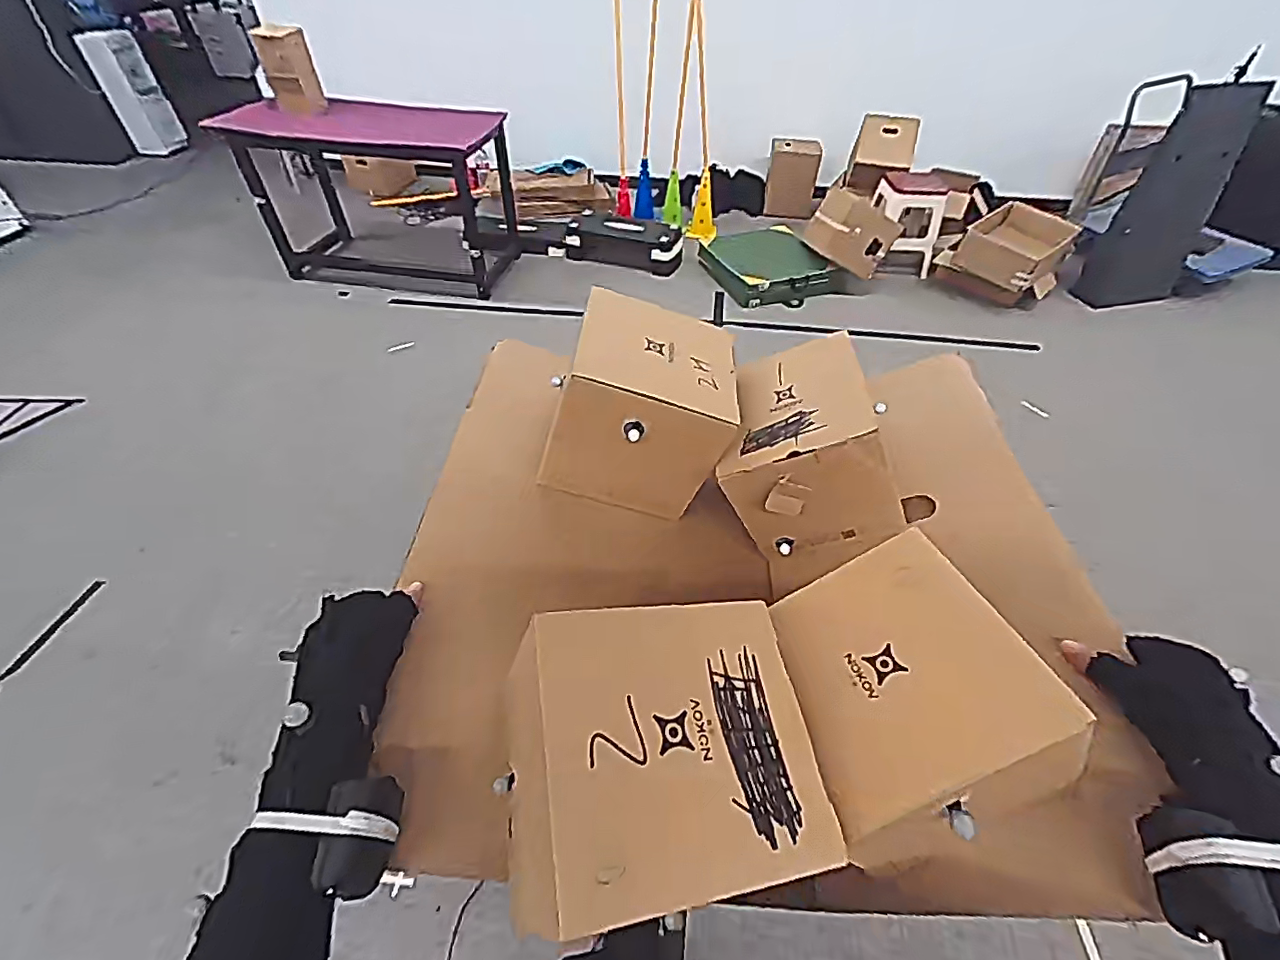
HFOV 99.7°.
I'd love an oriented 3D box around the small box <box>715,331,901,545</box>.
[{"bbox_3d":[0.199,-0.039,0.652,0.168,0.176,0.179,-17,43,24],"label":"small box"}]
